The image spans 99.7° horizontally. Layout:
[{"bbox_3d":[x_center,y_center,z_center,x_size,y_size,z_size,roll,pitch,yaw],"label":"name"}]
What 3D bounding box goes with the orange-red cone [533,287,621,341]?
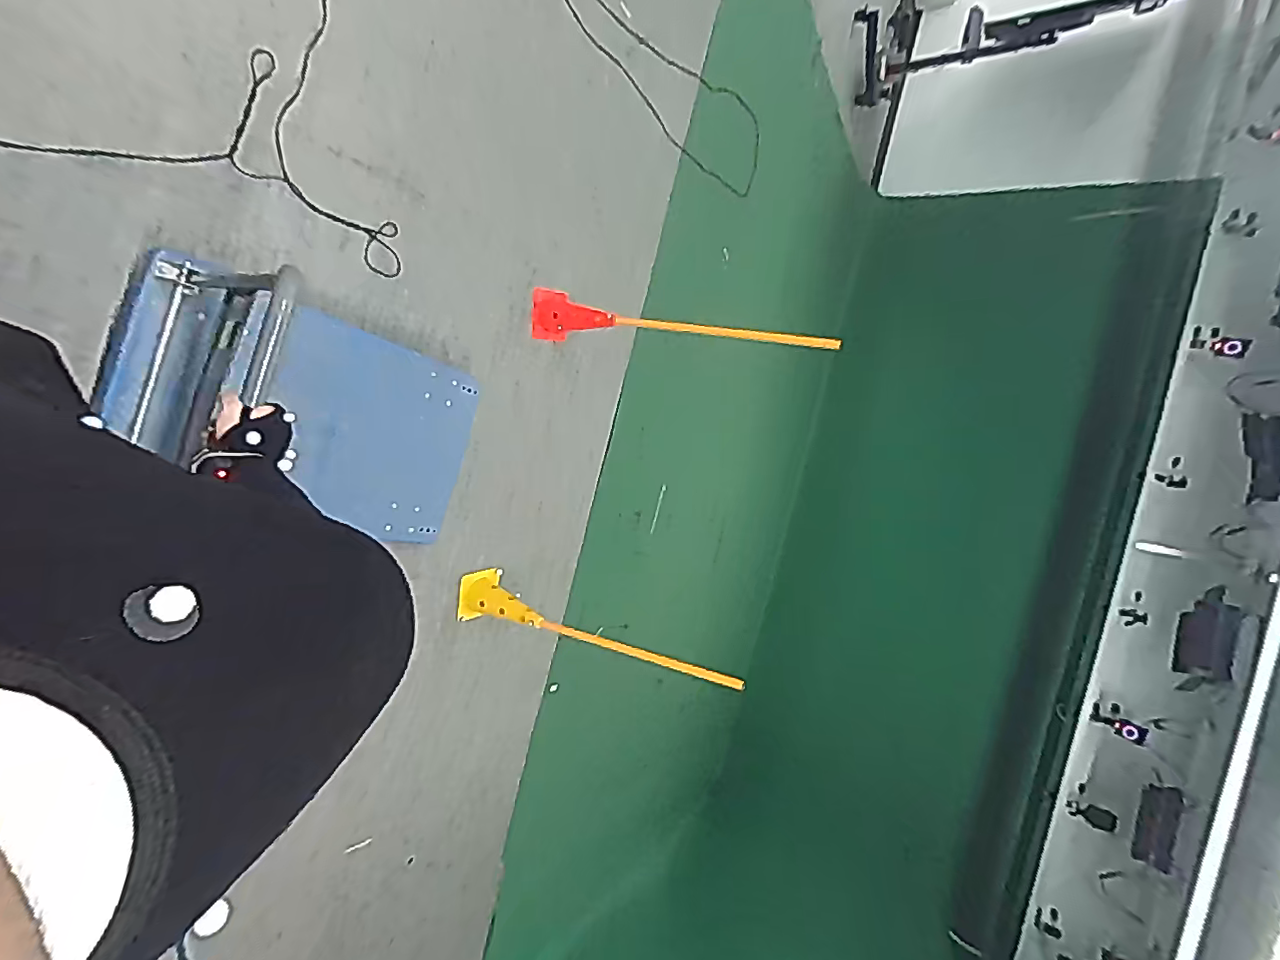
[{"bbox_3d":[-0.228,-0.648,2.139,0.198,0.360,0.199,-13,112,-55],"label":"orange-red cone"}]
